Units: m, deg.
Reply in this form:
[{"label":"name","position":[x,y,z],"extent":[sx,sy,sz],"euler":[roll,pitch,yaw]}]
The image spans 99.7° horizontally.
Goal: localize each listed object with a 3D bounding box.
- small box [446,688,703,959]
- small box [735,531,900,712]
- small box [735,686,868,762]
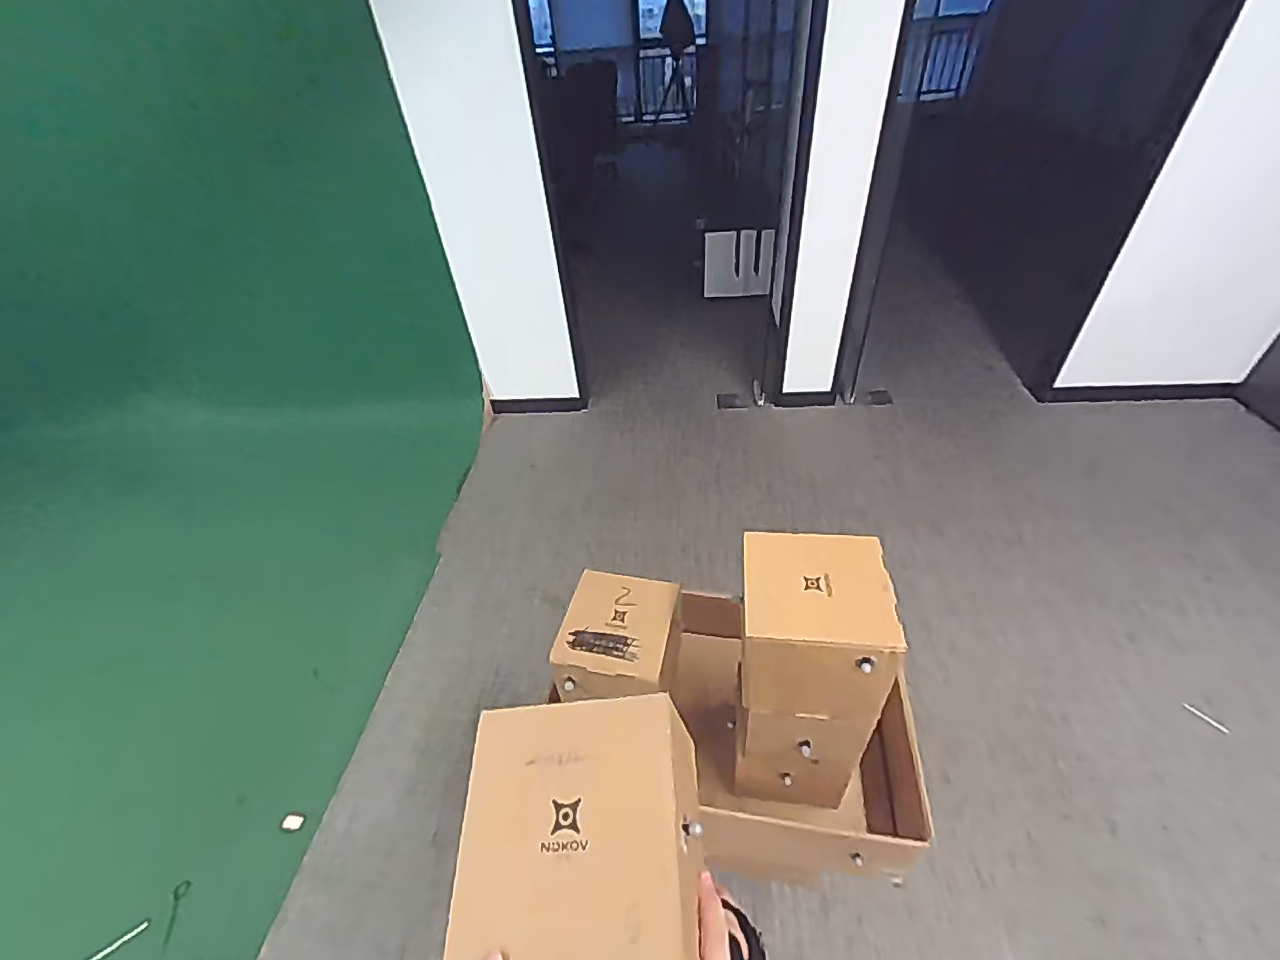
[{"label":"small box","position":[-0.039,0.298,0.468],"extent":[0.168,0.176,0.179],"euler":[-7,51,8]},{"label":"small box","position":[0.217,0.186,0.714],"extent":[0.179,0.176,0.168],"euler":[2,42,8]},{"label":"small box","position":[0.234,0.306,0.823],"extent":[0.168,0.176,0.179],"euler":[2,43,8]}]
